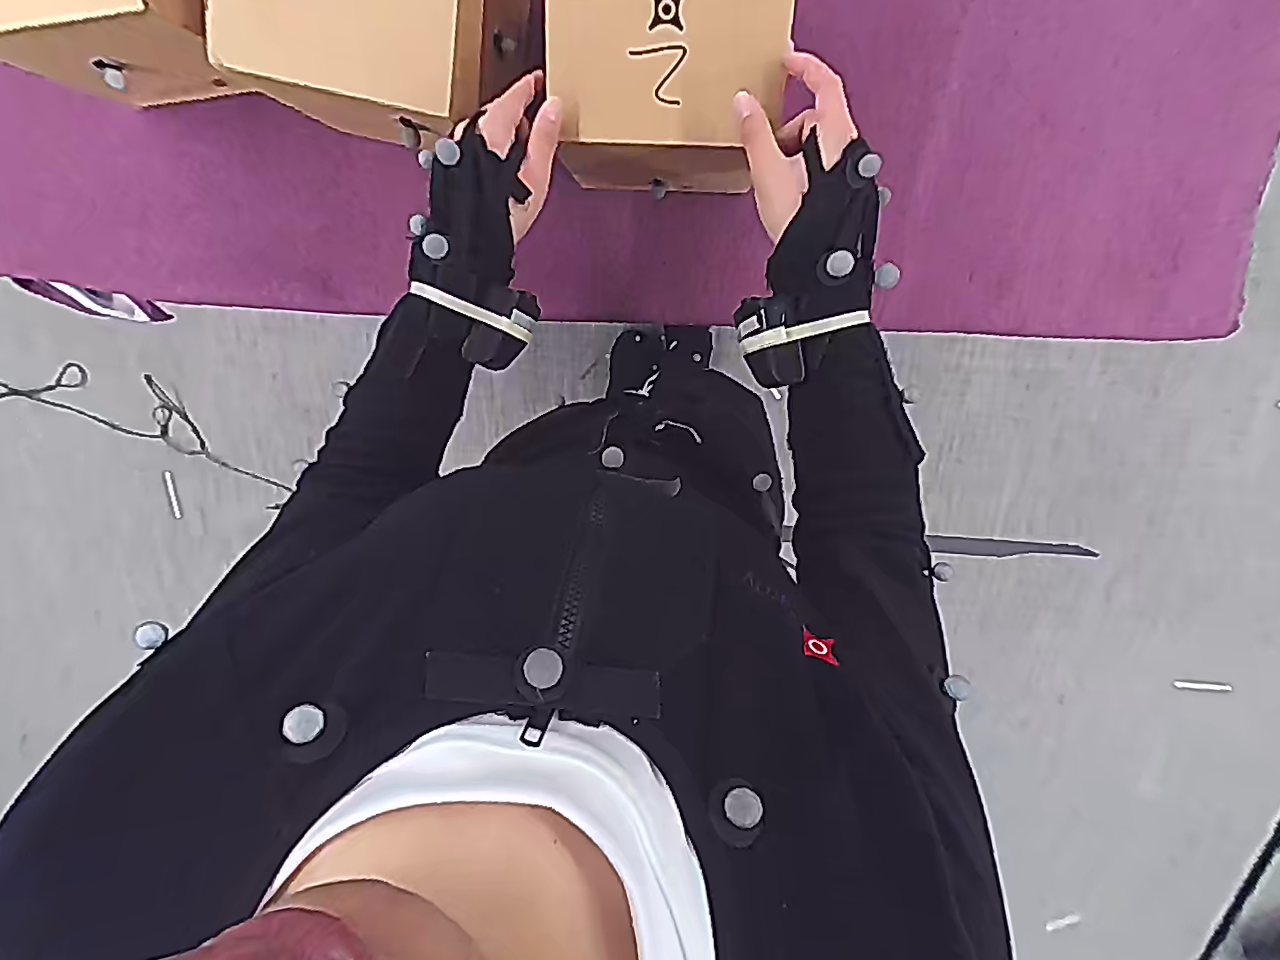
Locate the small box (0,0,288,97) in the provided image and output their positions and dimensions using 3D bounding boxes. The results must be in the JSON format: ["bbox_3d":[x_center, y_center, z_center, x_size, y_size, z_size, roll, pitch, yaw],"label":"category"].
[{"bbox_3d":[-0.424,-0.430,0.426,0.168,0.176,0.179,-5,109,5],"label":"small box"}]
